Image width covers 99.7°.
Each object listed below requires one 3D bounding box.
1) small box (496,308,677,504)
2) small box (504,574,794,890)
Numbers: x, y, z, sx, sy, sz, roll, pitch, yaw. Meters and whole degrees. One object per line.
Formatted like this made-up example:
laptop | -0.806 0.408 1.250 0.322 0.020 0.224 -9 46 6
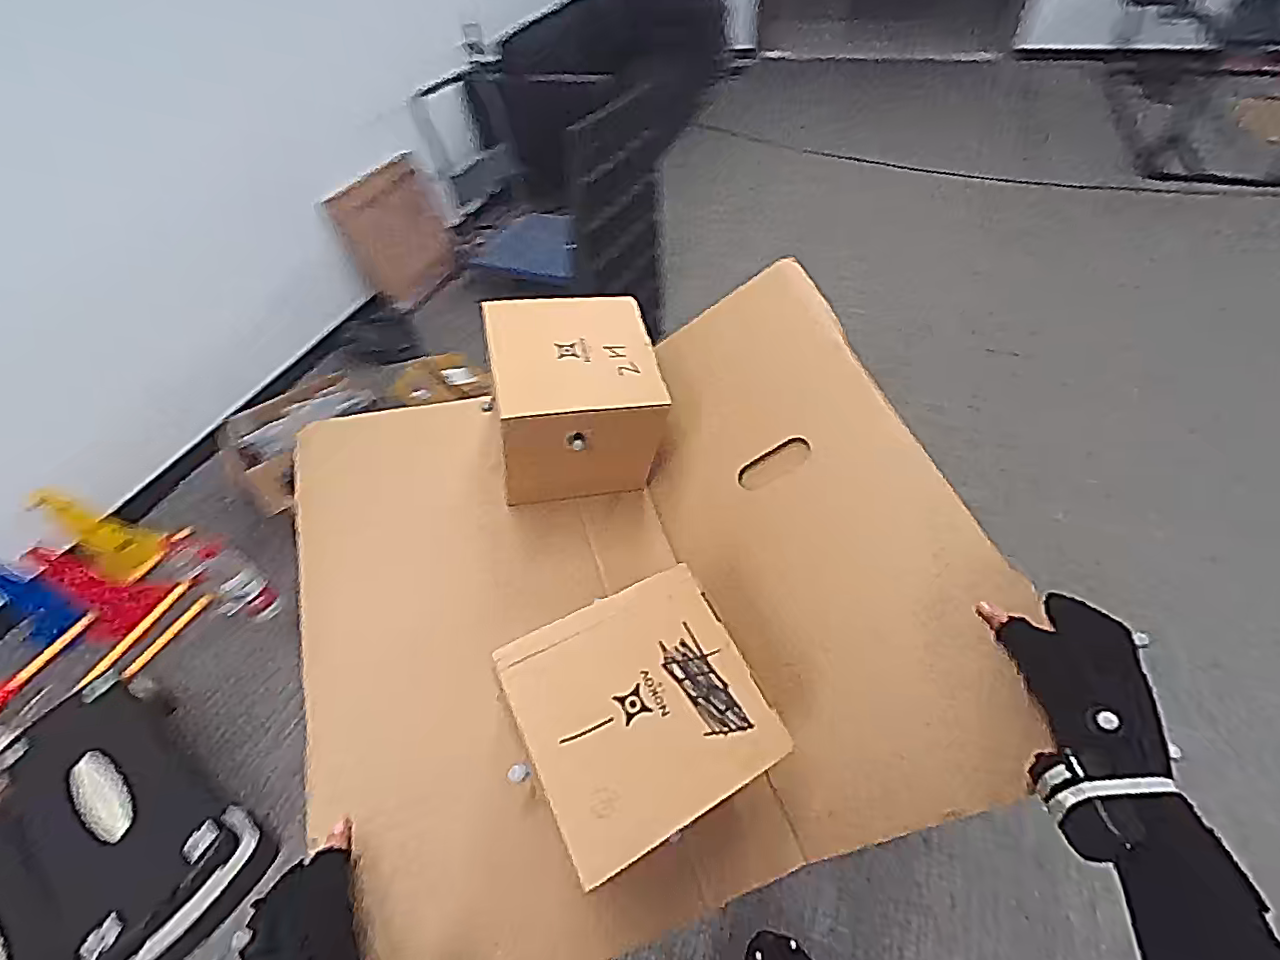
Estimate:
small box | -0.073 -0.084 0.648 0.179 0.176 0.168 -6 60 -15
small box | -0.007 0.211 0.474 0.179 0.176 0.168 -21 64 -21
